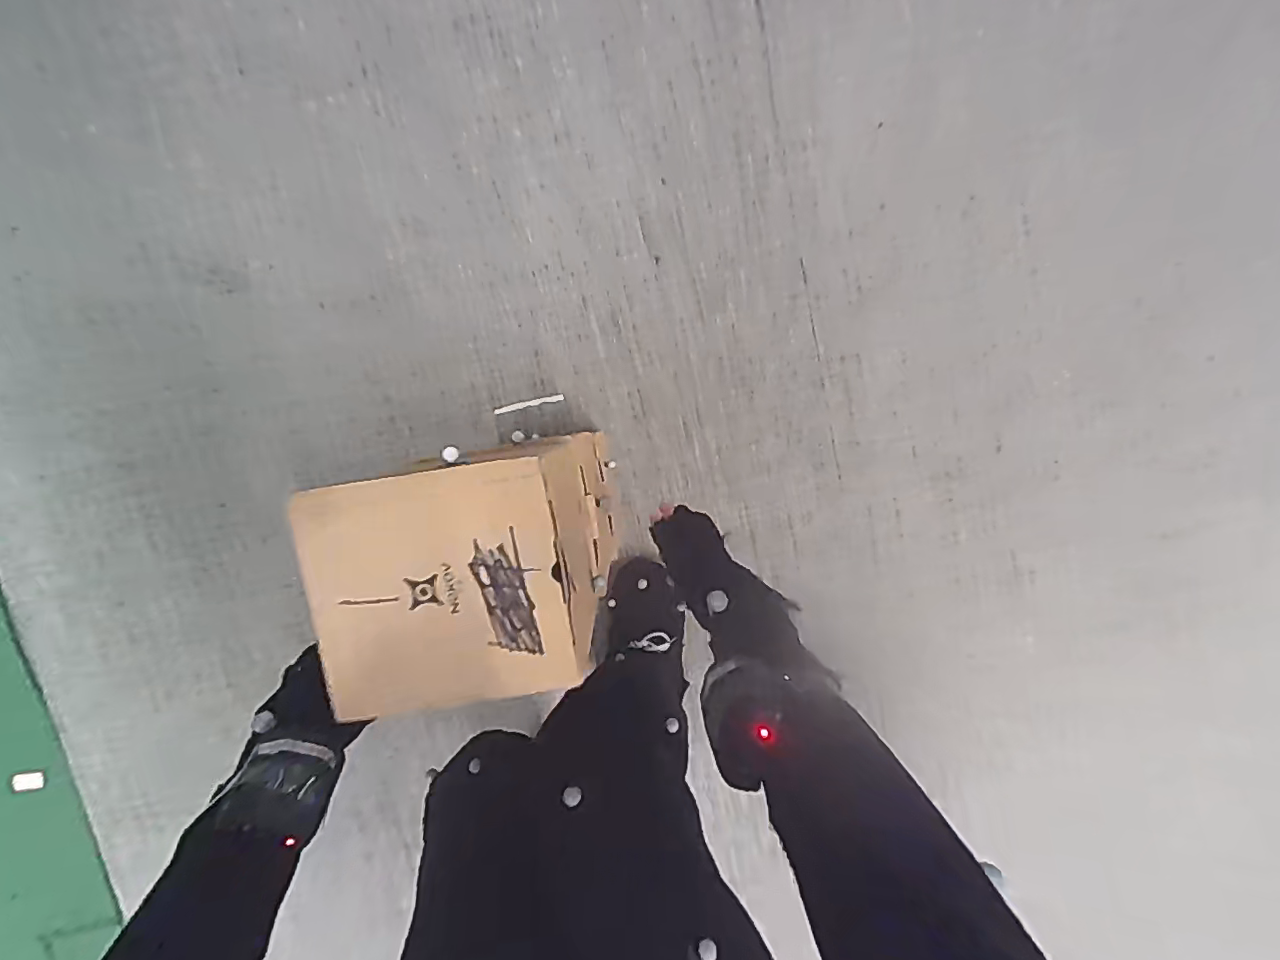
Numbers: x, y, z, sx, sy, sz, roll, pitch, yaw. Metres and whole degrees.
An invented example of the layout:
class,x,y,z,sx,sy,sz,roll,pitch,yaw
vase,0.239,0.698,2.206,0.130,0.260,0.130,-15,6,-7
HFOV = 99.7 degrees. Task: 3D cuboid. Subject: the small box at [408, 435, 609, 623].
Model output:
class,x,y,z,sx,sy,sz,roll,pitch,yaw
small box,-0.131,0.043,0.613,0.179,0.176,0.168,-9,97,1
